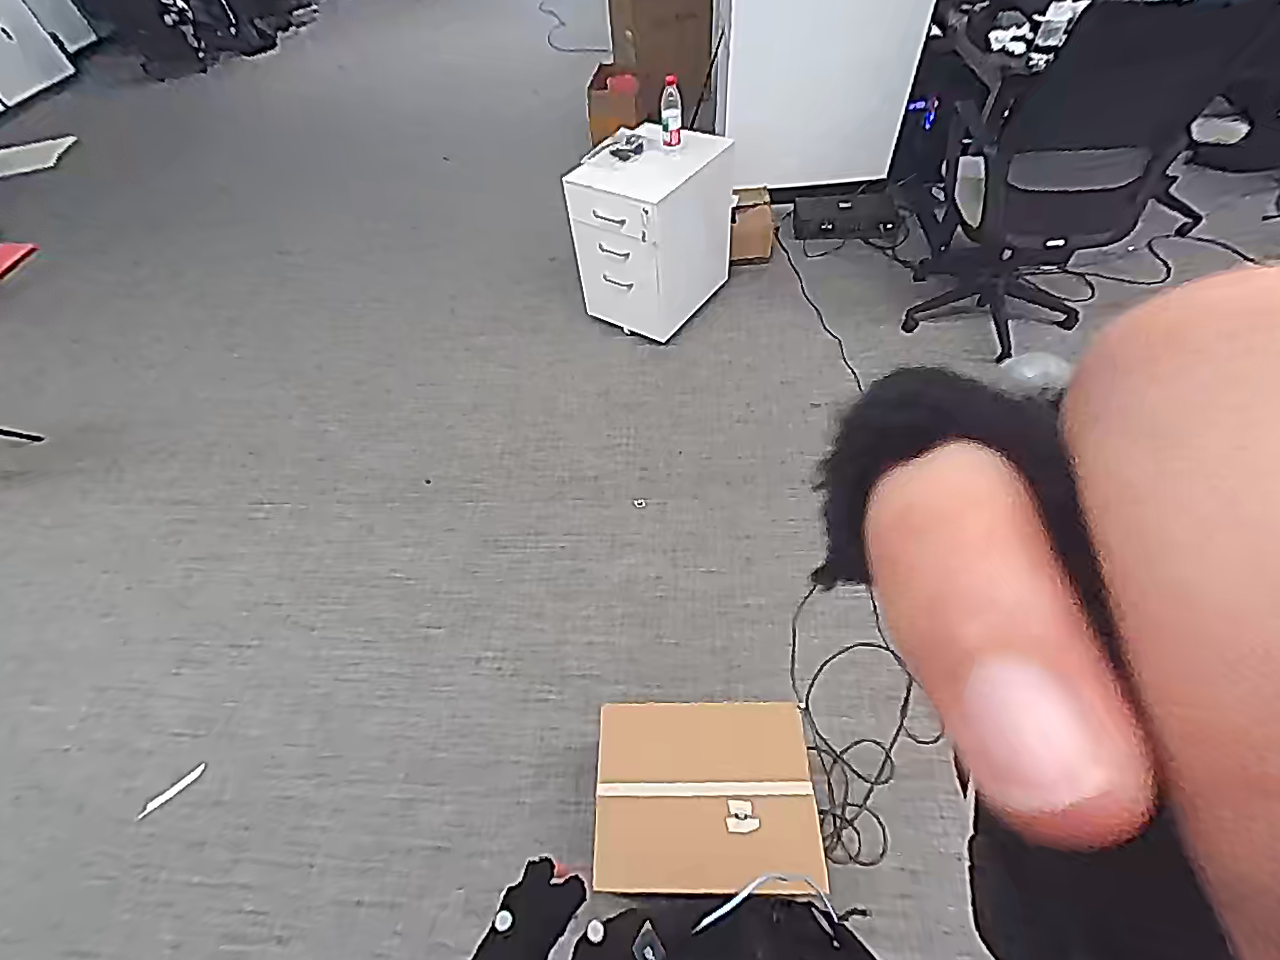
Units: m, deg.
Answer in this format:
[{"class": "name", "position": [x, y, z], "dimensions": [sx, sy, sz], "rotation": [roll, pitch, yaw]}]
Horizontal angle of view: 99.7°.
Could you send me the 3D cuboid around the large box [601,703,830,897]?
[{"class": "large box", "position": [0.137, 0.677, 1.136], "dimensions": [0.408, 0.320, 0.320], "rotation": [-2, 52, 4]}]
